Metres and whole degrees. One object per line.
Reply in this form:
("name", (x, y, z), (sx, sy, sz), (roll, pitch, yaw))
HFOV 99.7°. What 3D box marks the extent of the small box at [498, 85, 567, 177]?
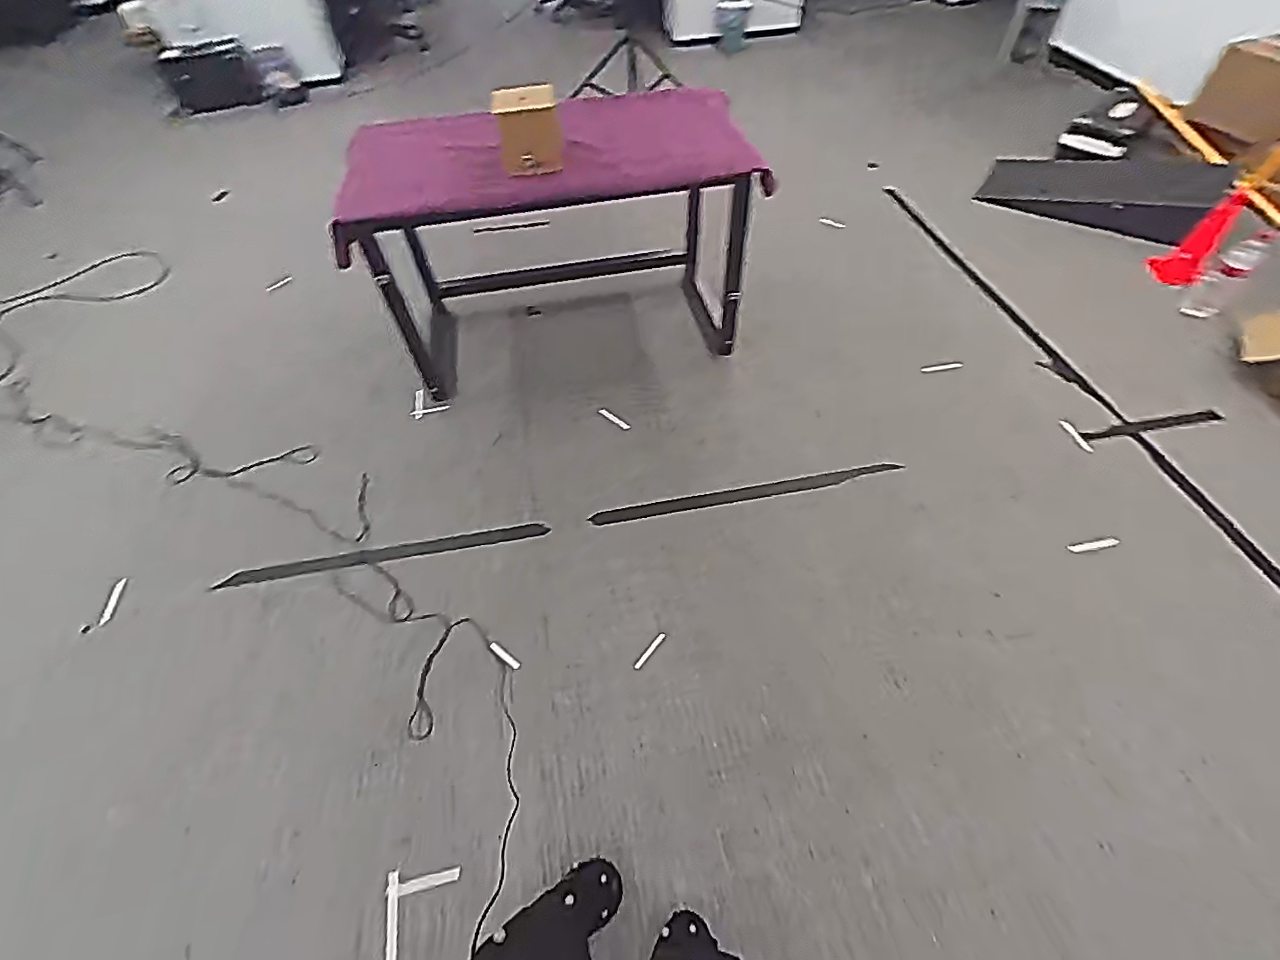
("small box", (-0.305, -0.999, 1.551), (0.168, 0.176, 0.179), (-9, 54, -2))
